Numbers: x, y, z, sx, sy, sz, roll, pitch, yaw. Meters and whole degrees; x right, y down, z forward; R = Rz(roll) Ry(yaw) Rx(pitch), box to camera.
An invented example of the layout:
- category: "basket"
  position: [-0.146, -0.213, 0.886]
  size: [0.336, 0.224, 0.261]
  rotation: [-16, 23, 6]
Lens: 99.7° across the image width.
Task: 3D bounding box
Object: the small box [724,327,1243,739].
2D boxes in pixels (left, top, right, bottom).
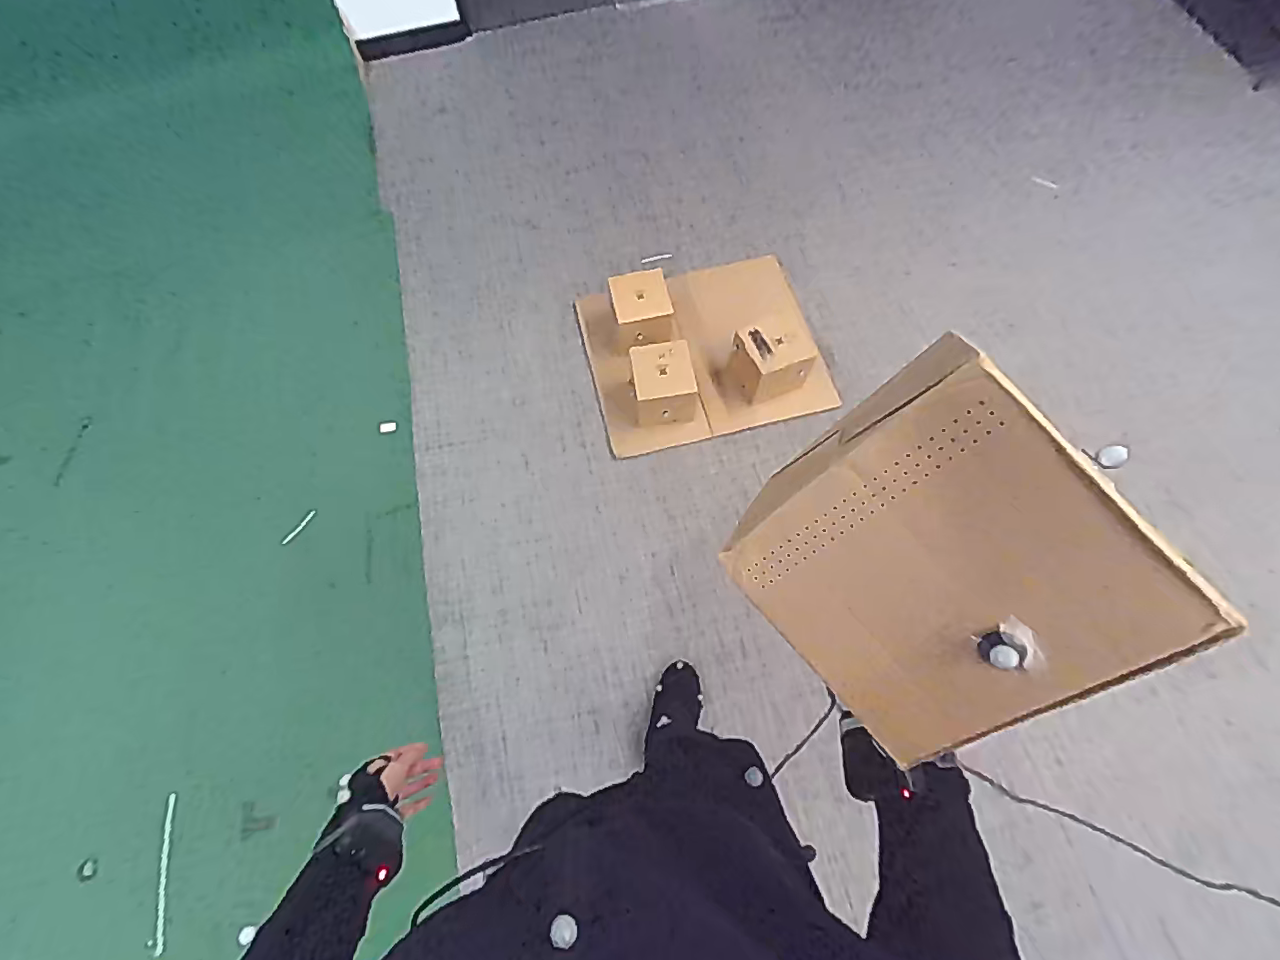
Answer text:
- category: "small box"
  position: [0.185, 0.018, 0.347]
  size: [0.176, 0.168, 0.179]
  rotation: [50, 120, 4]

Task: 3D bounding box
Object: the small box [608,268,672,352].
- category: "small box"
  position: [0.002, -0.510, 1.654]
  size: [0.168, 0.176, 0.179]
  rotation: [-12, 67, -3]

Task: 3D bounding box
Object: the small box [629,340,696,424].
- category: "small box"
  position: [0.063, -0.273, 1.553]
  size: [0.168, 0.176, 0.179]
  rotation: [-8, 67, -2]
